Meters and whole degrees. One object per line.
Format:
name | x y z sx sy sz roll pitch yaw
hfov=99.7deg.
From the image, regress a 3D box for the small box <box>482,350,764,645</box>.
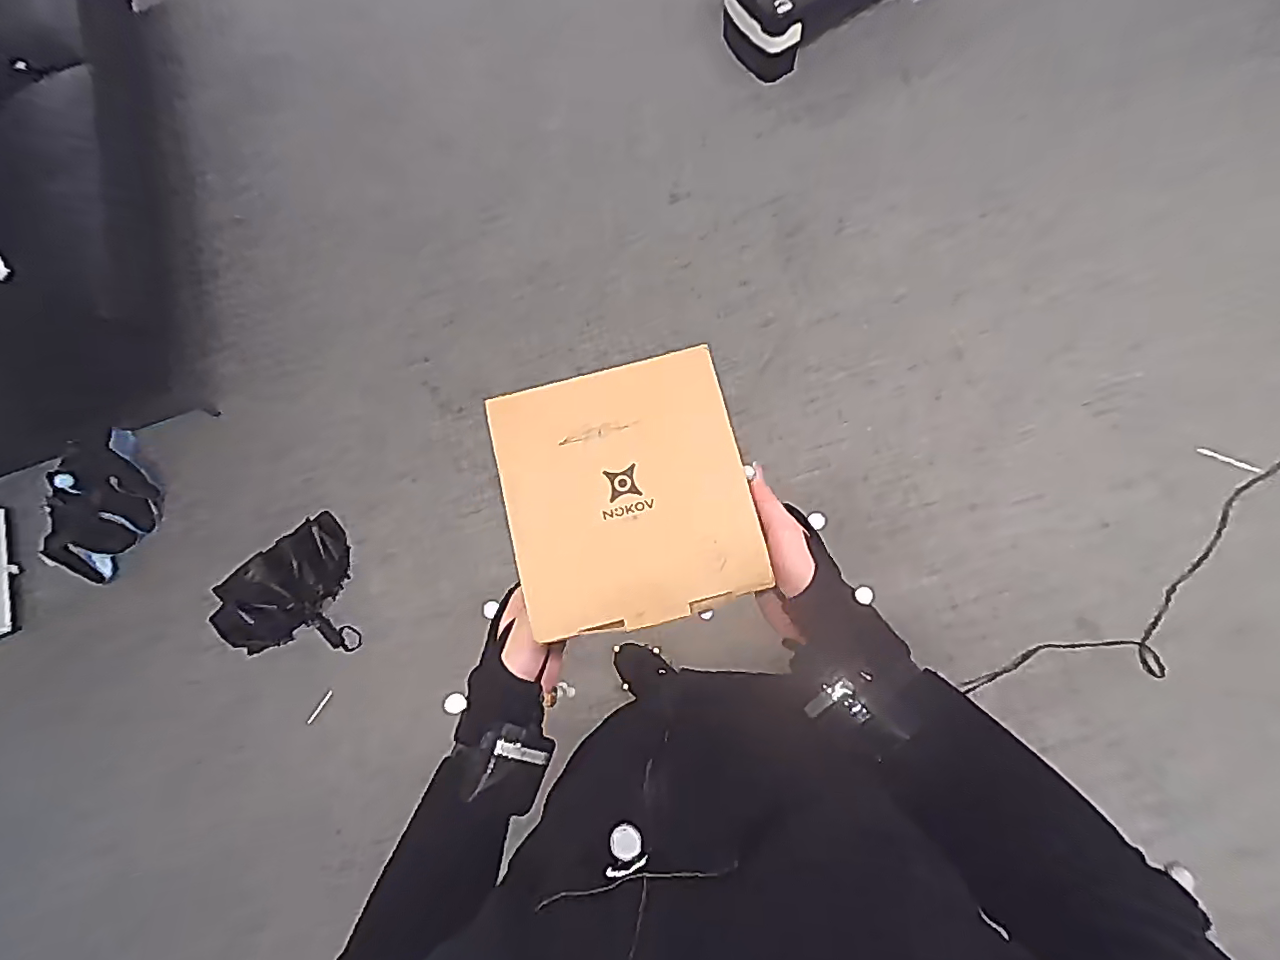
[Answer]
small box | -0.011 0.022 0.449 0.168 0.176 0.179 -15 78 0
